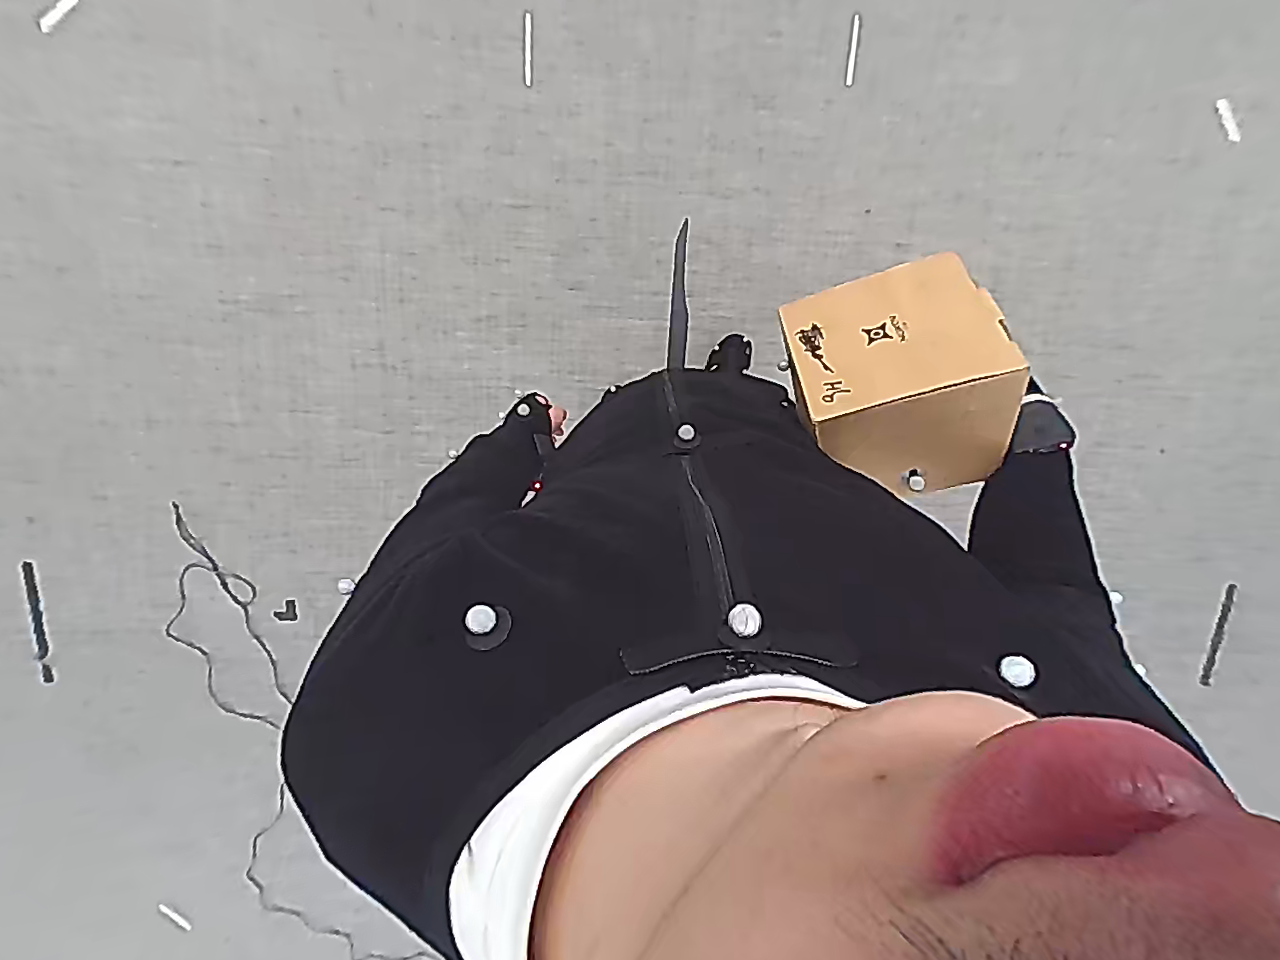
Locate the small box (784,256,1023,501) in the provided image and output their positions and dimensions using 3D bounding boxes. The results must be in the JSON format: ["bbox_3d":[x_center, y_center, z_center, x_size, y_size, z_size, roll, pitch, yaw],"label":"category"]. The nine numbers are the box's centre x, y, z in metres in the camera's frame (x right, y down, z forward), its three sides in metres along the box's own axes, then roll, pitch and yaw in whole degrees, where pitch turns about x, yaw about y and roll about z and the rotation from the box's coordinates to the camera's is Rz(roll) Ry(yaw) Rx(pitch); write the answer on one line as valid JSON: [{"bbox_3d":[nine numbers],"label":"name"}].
[{"bbox_3d":[0.266,-0.099,0.583,0.179,0.168,0.176,-14,142,15],"label":"small box"}]
